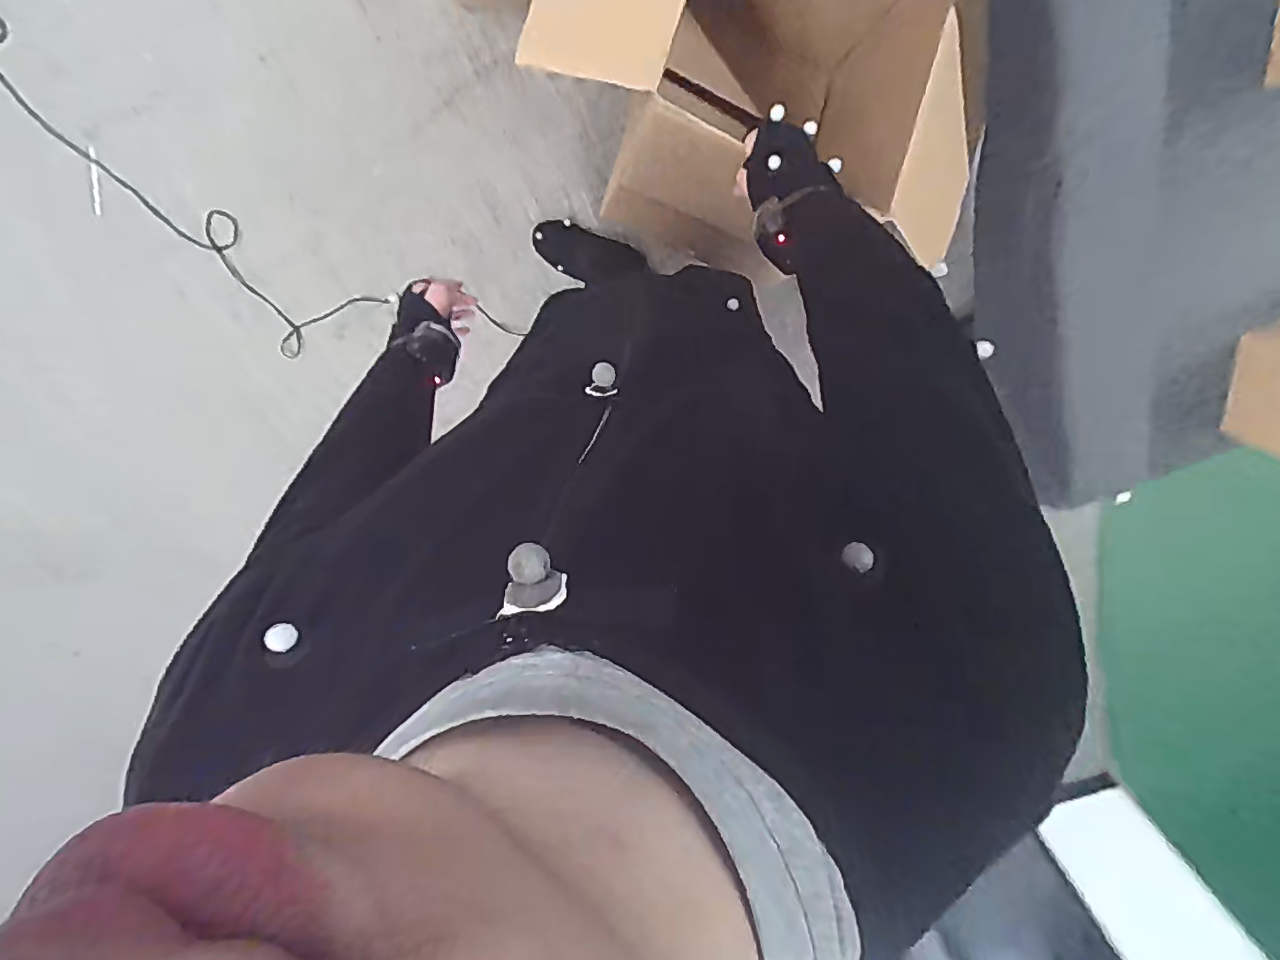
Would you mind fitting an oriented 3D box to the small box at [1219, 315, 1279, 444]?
[{"bbox_3d":[0.991,-0.145,0.762,0.168,0.176,0.179,-19,122,7],"label":"small box"}]
